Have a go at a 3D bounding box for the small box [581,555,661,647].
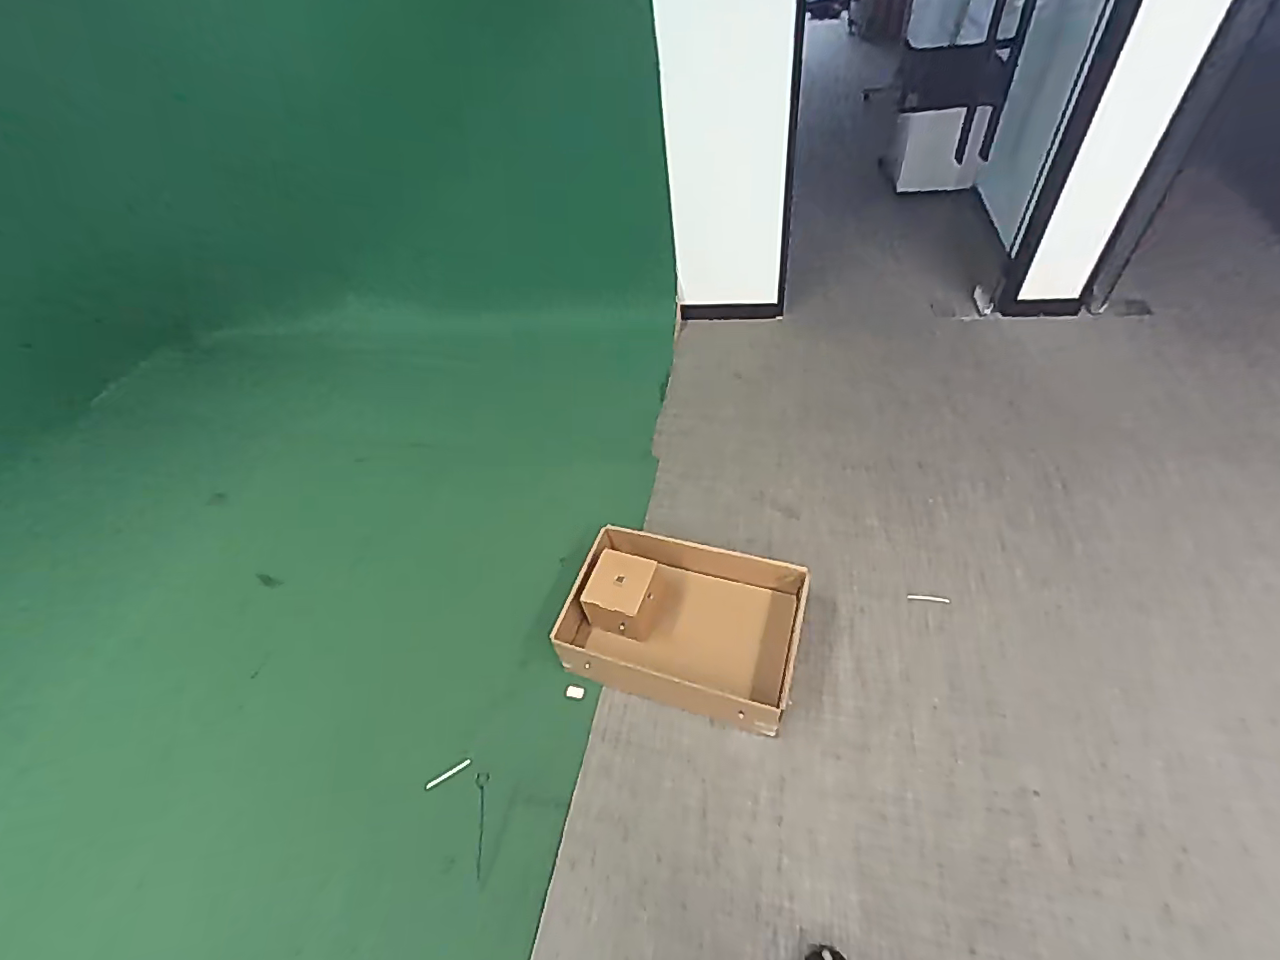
[{"bbox_3d":[-0.046,0.345,1.533,0.168,0.176,0.179,13,52,19],"label":"small box"}]
